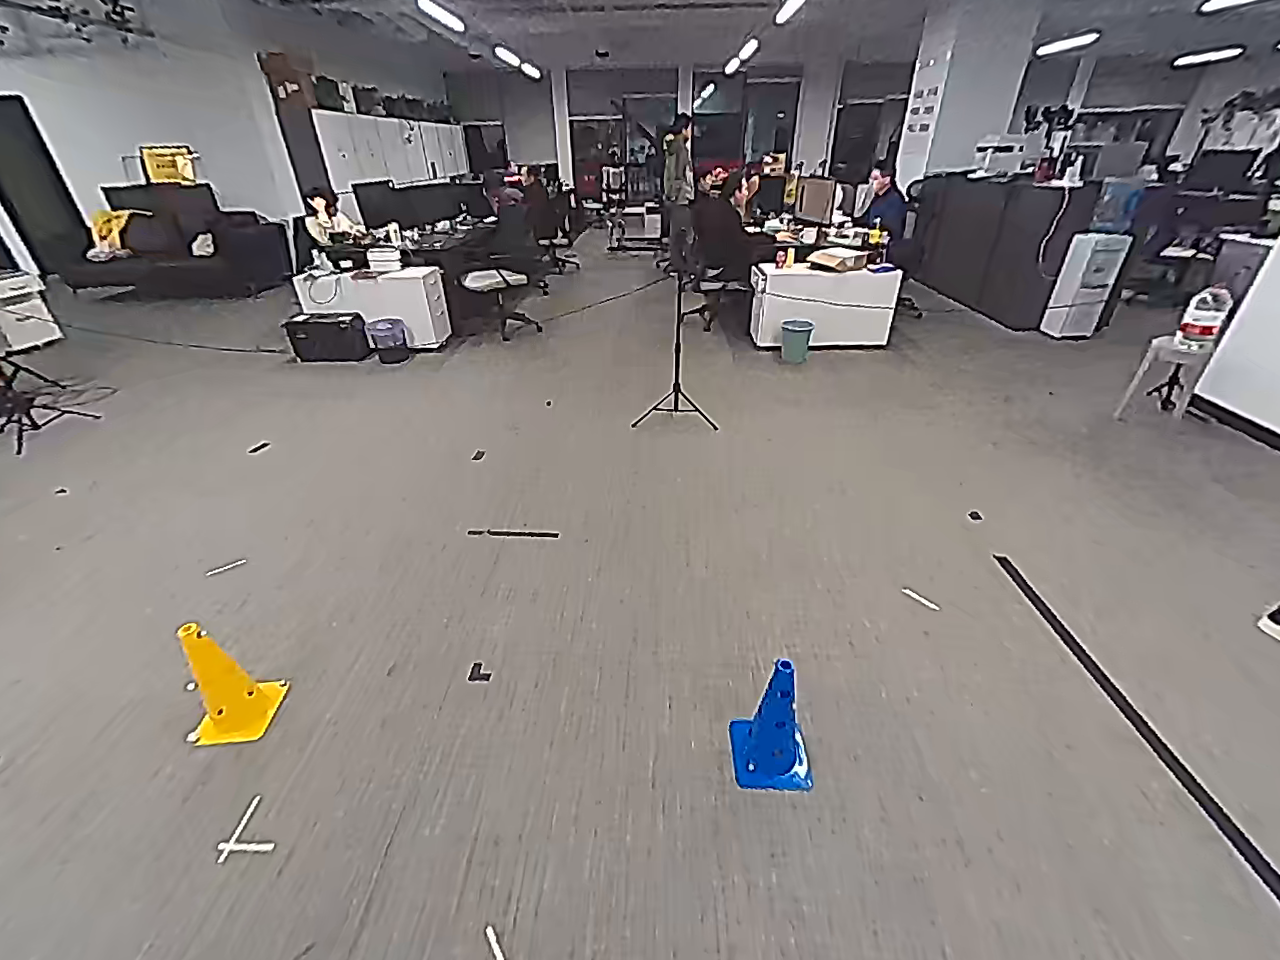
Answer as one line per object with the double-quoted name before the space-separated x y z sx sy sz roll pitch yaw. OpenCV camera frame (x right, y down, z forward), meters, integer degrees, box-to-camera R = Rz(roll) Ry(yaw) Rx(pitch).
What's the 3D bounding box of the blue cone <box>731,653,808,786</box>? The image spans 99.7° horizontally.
"blue cone" 0.348 0.595 1.385 0.193 0.380 0.192 1 30 3
